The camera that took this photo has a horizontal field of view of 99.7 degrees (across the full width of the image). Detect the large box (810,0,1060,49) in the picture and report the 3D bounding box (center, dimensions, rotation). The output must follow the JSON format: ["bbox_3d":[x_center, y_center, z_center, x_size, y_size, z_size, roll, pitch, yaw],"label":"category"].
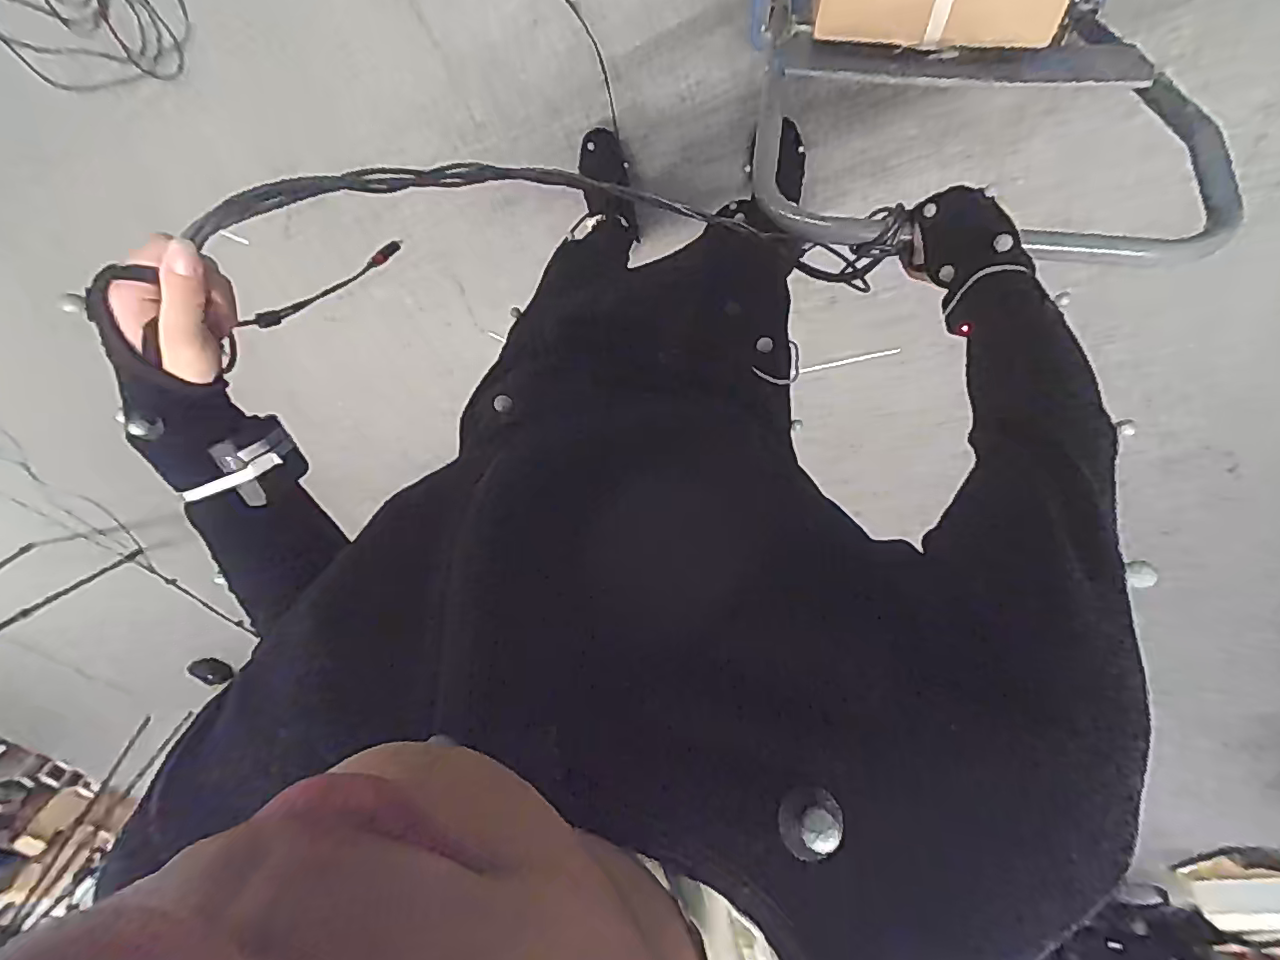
[{"bbox_3d":[0.421,-0.846,0.697,0.320,0.320,0.408,9,140,6],"label":"large box"}]
